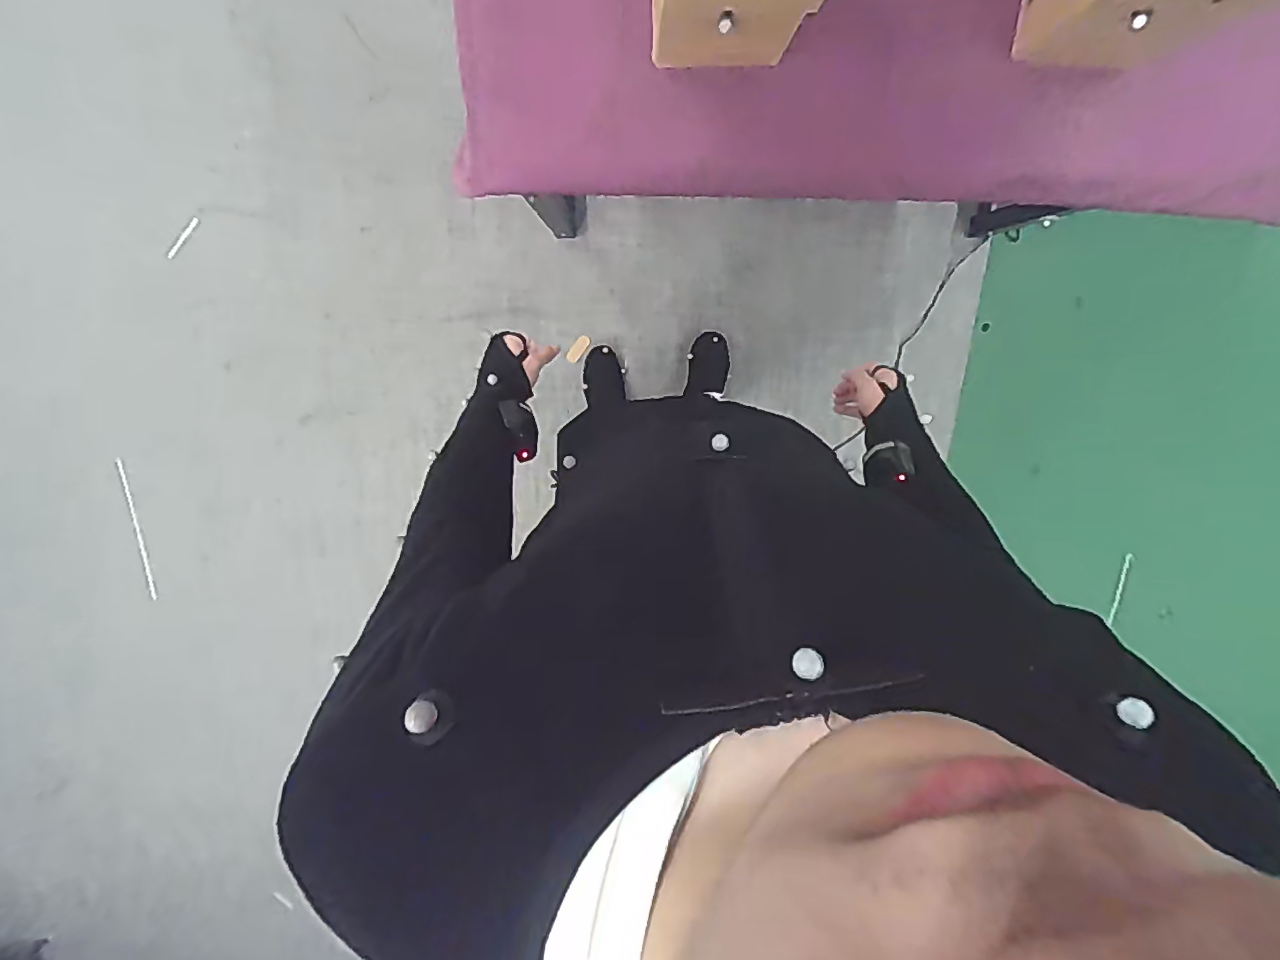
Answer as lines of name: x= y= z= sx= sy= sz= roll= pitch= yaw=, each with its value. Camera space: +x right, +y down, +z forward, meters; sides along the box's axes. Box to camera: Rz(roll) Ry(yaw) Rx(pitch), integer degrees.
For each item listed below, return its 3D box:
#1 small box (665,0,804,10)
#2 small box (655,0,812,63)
small box: x=0.111 y=-0.577 z=0.500 sx=0.179 sy=0.176 sz=0.168 roll=1 pitch=106 yaw=0
small box: x=0.108 y=-0.638 z=0.654 sx=0.179 sy=0.176 sz=0.168 roll=-1 pitch=106 yaw=1
